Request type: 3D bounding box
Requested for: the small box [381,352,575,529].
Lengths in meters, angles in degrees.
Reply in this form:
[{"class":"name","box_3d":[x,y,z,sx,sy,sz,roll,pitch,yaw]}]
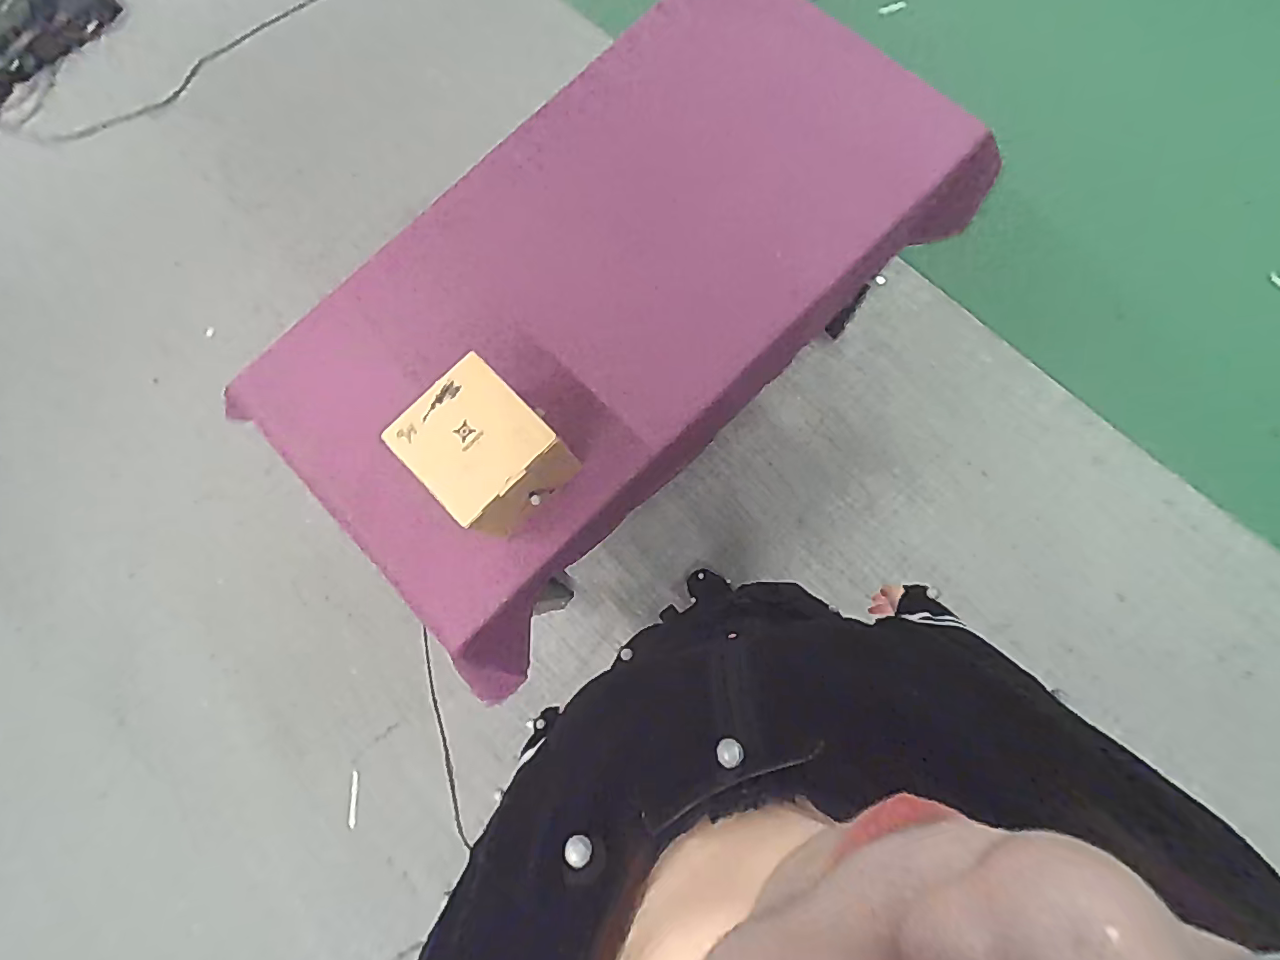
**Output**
[{"class":"small box","box_3d":[-0.216,-0.044,0.773,0.168,0.176,0.179,-45,80,-4]}]
